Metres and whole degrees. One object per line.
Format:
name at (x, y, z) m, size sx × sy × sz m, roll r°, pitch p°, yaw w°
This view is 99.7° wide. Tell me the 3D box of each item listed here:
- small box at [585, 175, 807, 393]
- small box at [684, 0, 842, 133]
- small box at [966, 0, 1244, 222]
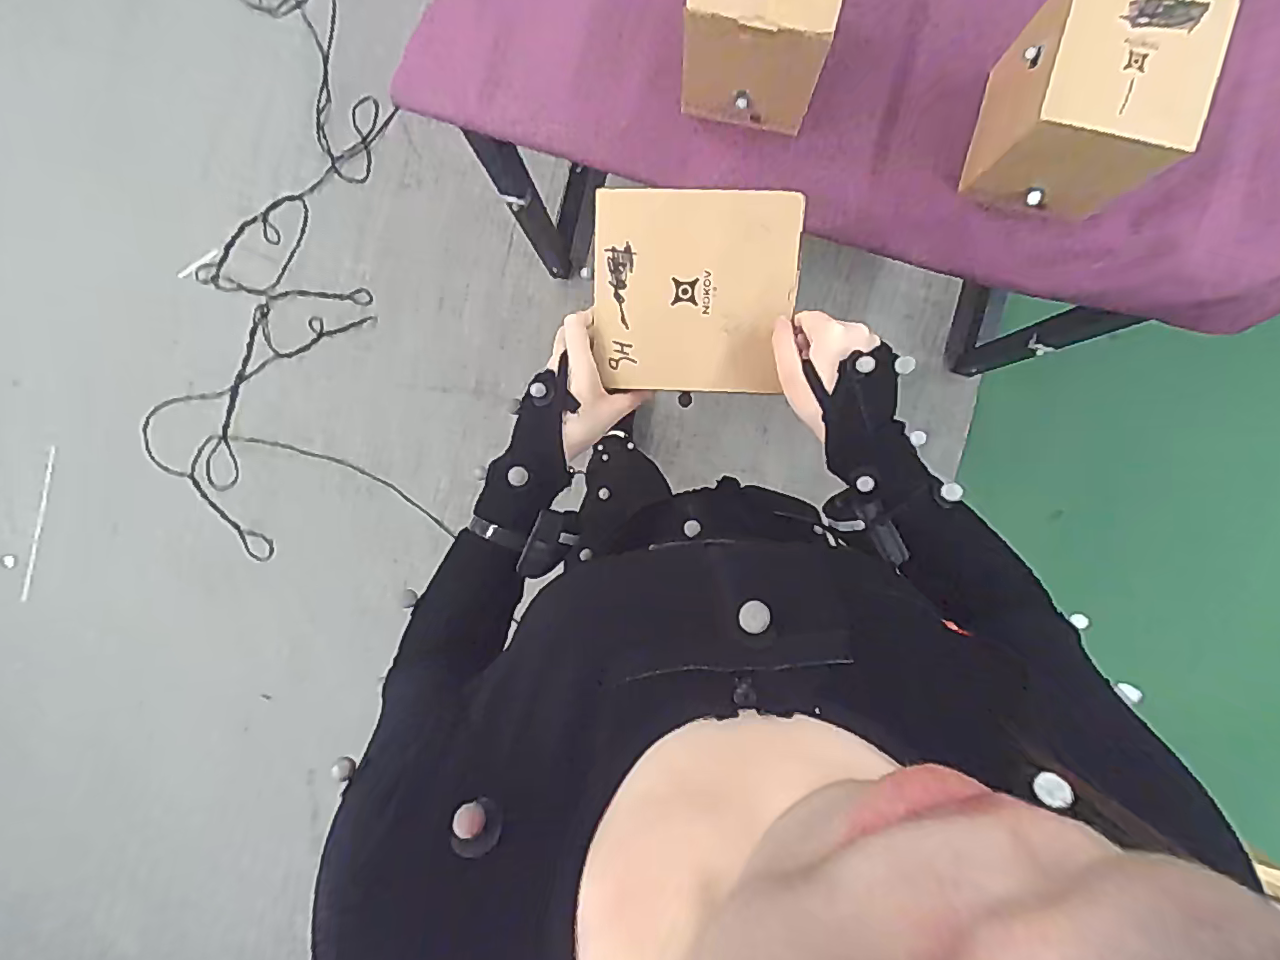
small box at (0.046, -0.173, 0.528) m, size 0.179 × 0.176 × 0.168 m, roll 3°, pitch 98°, yaw 2°
small box at (0.150, -0.571, 0.655) m, size 0.168 × 0.176 × 0.179 m, roll 13°, pitch 90°, yaw 4°
small box at (0.523, -0.442, 0.637) m, size 0.168 × 0.176 × 0.179 m, roll 15°, pitch 92°, yaw 3°
